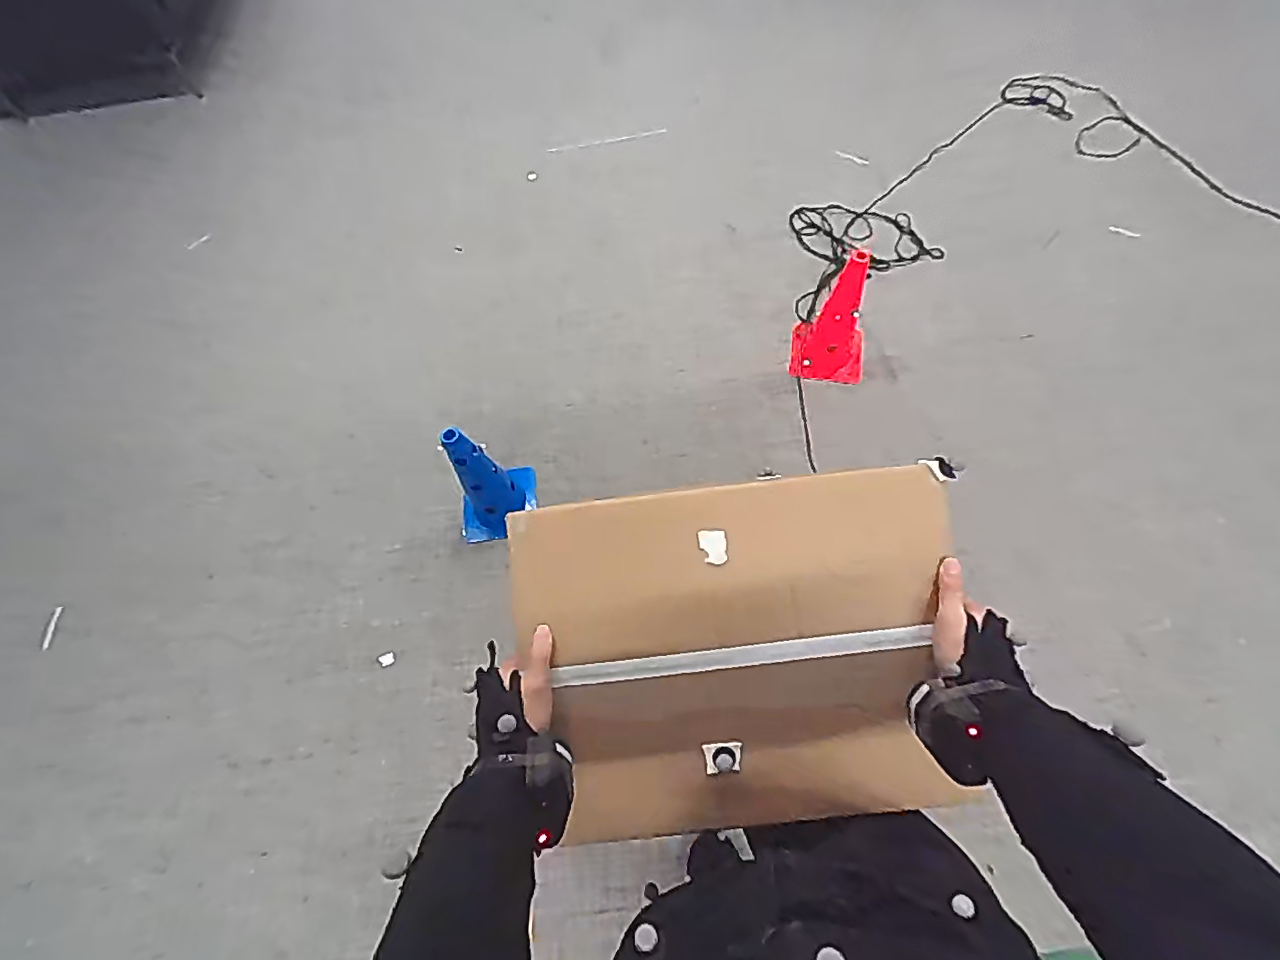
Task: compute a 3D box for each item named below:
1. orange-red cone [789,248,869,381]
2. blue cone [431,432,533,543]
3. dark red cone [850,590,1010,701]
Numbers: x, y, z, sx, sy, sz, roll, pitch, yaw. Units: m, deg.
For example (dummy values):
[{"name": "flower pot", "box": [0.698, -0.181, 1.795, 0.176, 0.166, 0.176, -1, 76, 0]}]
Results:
[{"name": "orange-red cone", "box": [0.527, -0.449, 1.407, 0.199, 0.360, 0.198, 10, 66, 9]}, {"name": "blue cone", "box": [-0.394, -0.005, 1.296, 0.192, 0.380, 0.193, -8, 63, 2]}, {"name": "dark red cone", "box": [0.562, 0.286, 1.010, 0.202, 0.394, 0.201, -15, 66, -2]}]
